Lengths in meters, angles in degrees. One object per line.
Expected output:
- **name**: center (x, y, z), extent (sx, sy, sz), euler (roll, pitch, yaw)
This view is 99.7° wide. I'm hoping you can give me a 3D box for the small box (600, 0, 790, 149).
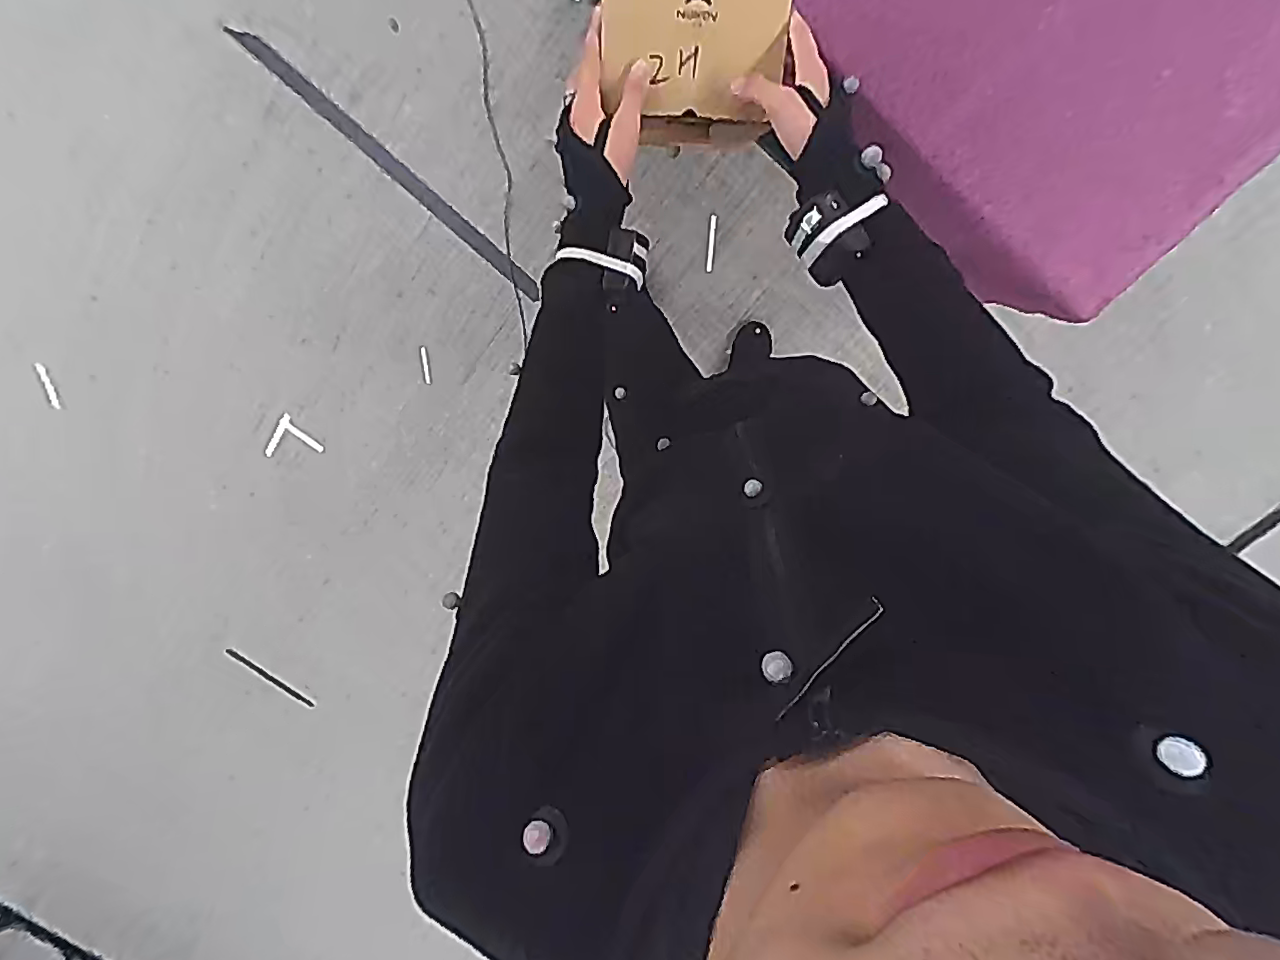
- **small box**: center (0.046, -0.451, 0.540), extent (0.168, 0.176, 0.179), euler (2, 114, -3)
